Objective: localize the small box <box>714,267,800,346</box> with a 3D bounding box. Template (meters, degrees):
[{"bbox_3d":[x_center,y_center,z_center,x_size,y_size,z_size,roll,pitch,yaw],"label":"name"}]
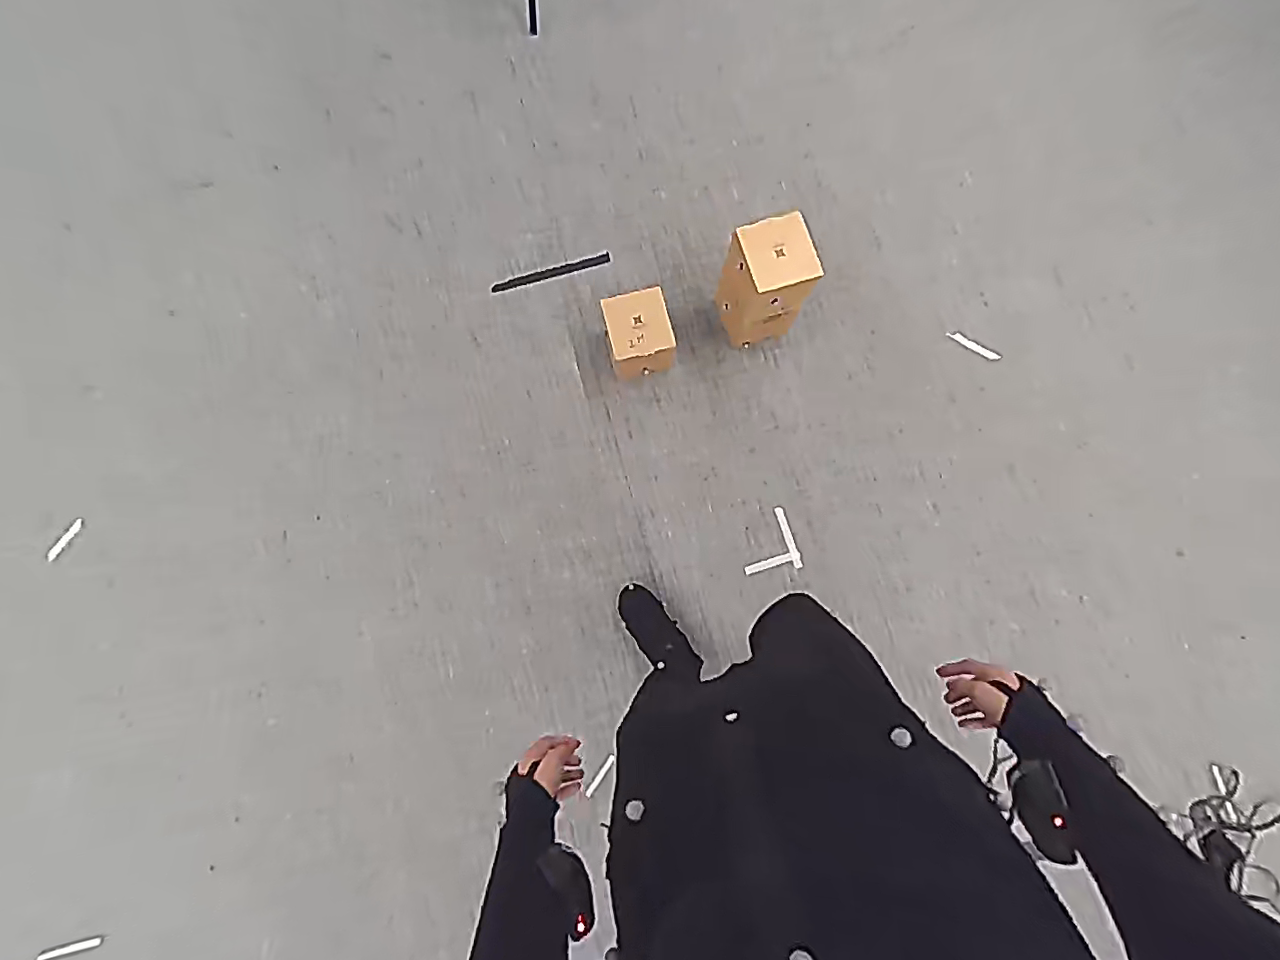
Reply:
[{"bbox_3d":[0.317,-0.489,1.495,0.168,0.176,0.179,-18,81,-4],"label":"small box"}]

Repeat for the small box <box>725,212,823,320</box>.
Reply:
[{"bbox_3d":[0.322,-0.516,1.335,0.168,0.176,0.179,-17,81,-4],"label":"small box"}]

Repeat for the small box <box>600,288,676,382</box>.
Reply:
[{"bbox_3d":[-0.008,-0.391,1.475,0.168,0.176,0.179,-14,82,-3],"label":"small box"}]
